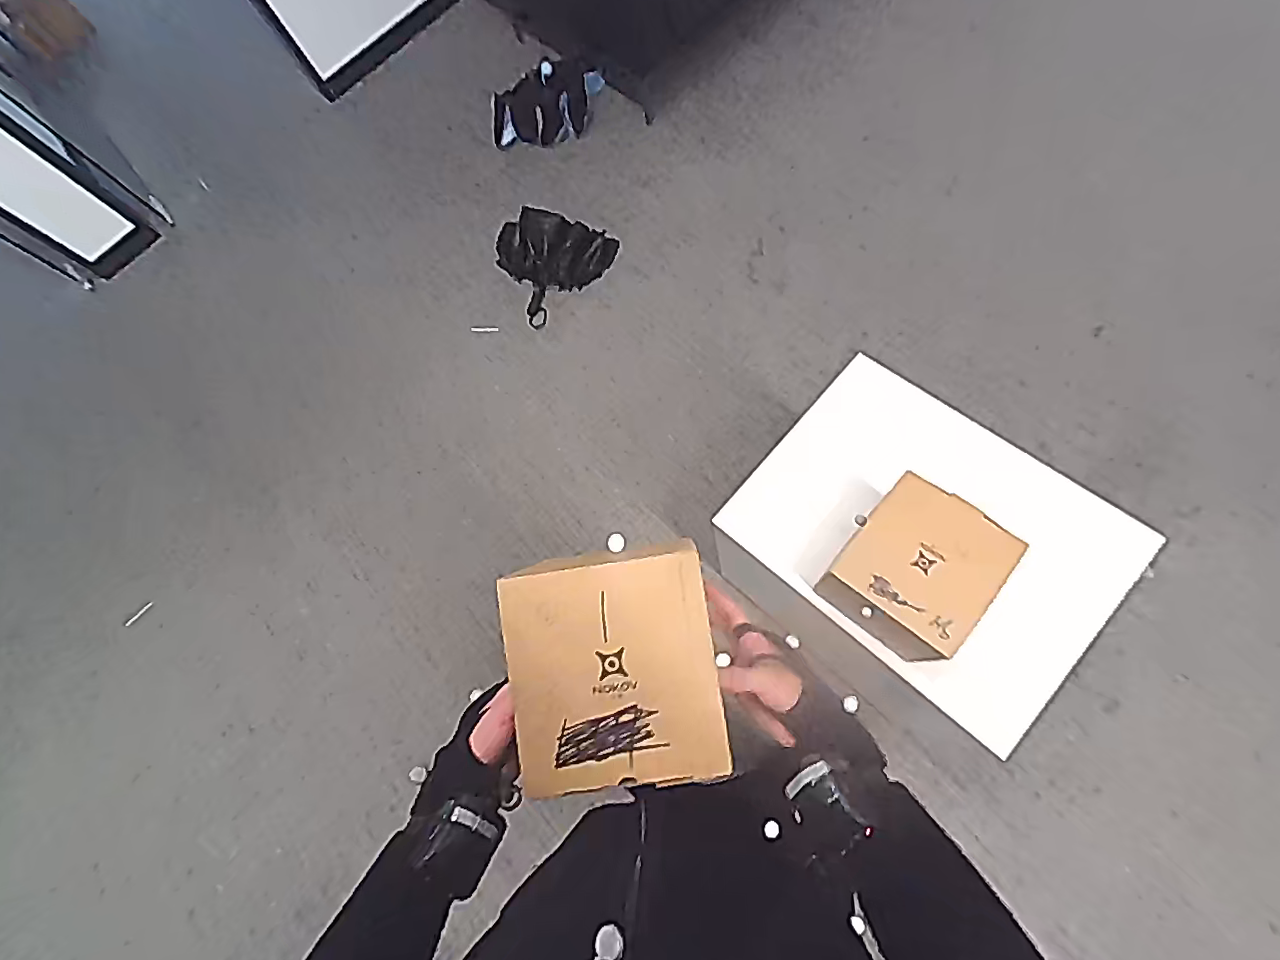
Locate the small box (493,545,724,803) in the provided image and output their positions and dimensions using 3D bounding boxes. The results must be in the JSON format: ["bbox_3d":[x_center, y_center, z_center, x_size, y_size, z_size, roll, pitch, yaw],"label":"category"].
[{"bbox_3d":[-0.022,0.162,0.505,0.168,0.176,0.179,-10,85,2],"label":"small box"}]

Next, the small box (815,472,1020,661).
[{"bbox_3d":[0.362,0.125,0.742,0.168,0.176,0.179,36,79,20],"label":"small box"}]
